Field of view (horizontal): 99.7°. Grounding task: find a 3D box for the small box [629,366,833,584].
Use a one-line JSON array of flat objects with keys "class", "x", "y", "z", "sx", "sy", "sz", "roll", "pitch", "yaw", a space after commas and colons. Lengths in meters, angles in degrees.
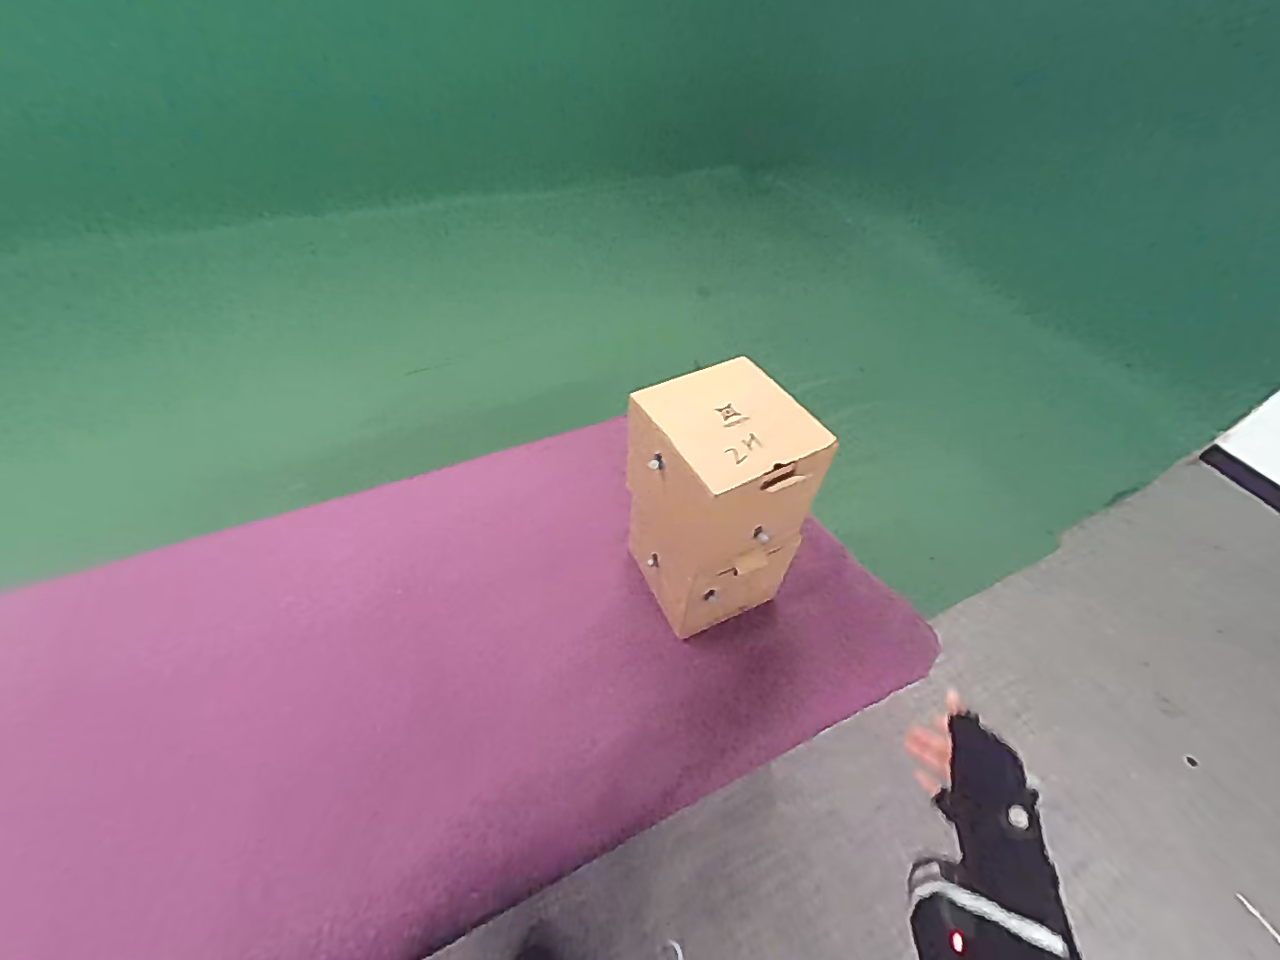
[{"class": "small box", "x": 0.094, "y": -0.006, "z": 0.663, "sx": 0.168, "sy": 0.176, "sz": 0.179, "roll": -22, "pitch": 55, "yaw": -20}]
